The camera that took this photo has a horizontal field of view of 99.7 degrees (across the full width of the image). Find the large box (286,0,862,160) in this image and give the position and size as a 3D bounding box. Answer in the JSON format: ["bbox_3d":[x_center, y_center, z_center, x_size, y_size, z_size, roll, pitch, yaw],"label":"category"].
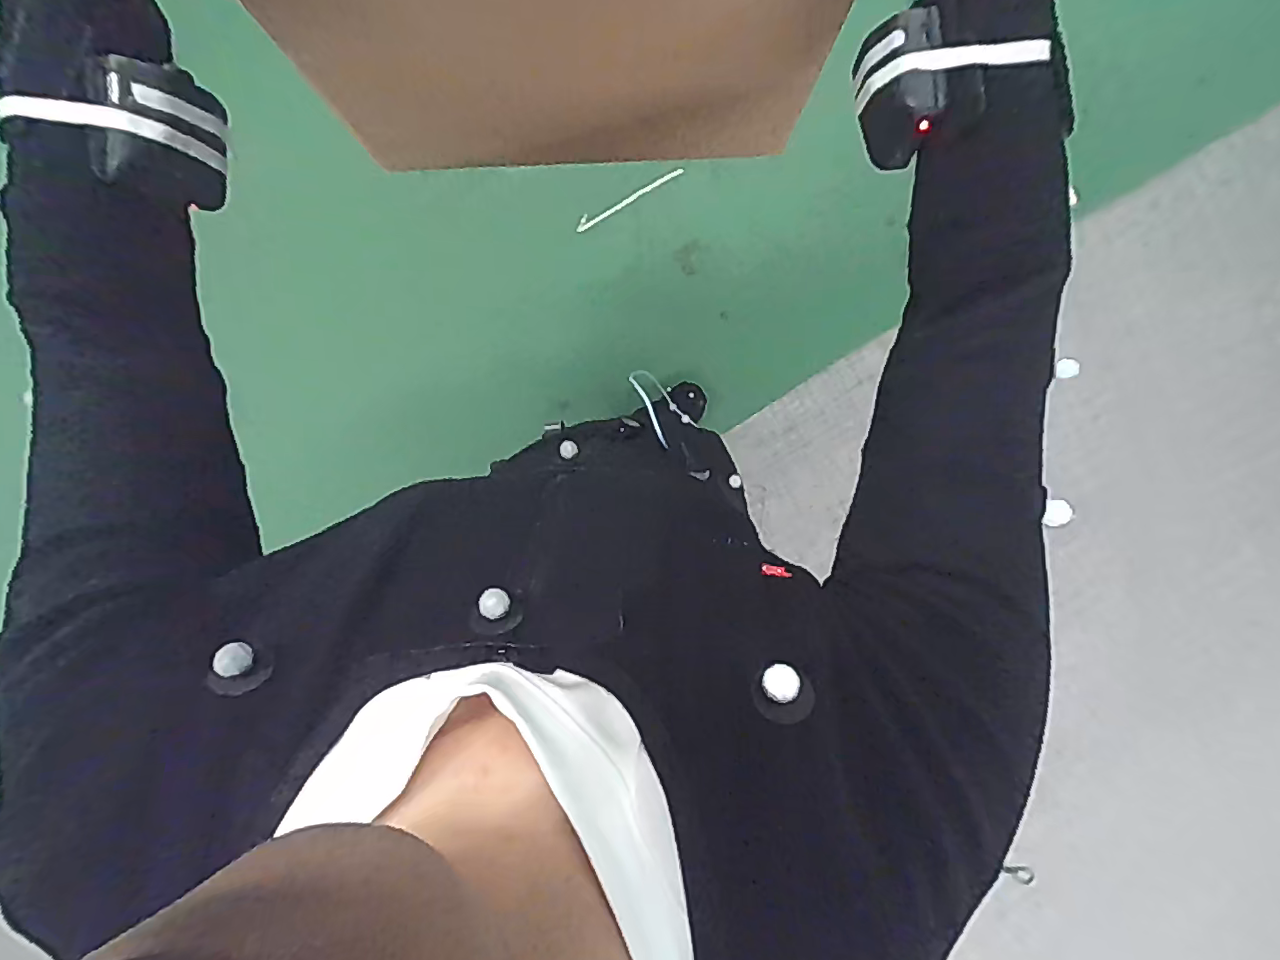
[{"bbox_3d":[-0.048,-0.475,0.392,0.408,0.320,0.320,-3,93,-2],"label":"large box"}]
